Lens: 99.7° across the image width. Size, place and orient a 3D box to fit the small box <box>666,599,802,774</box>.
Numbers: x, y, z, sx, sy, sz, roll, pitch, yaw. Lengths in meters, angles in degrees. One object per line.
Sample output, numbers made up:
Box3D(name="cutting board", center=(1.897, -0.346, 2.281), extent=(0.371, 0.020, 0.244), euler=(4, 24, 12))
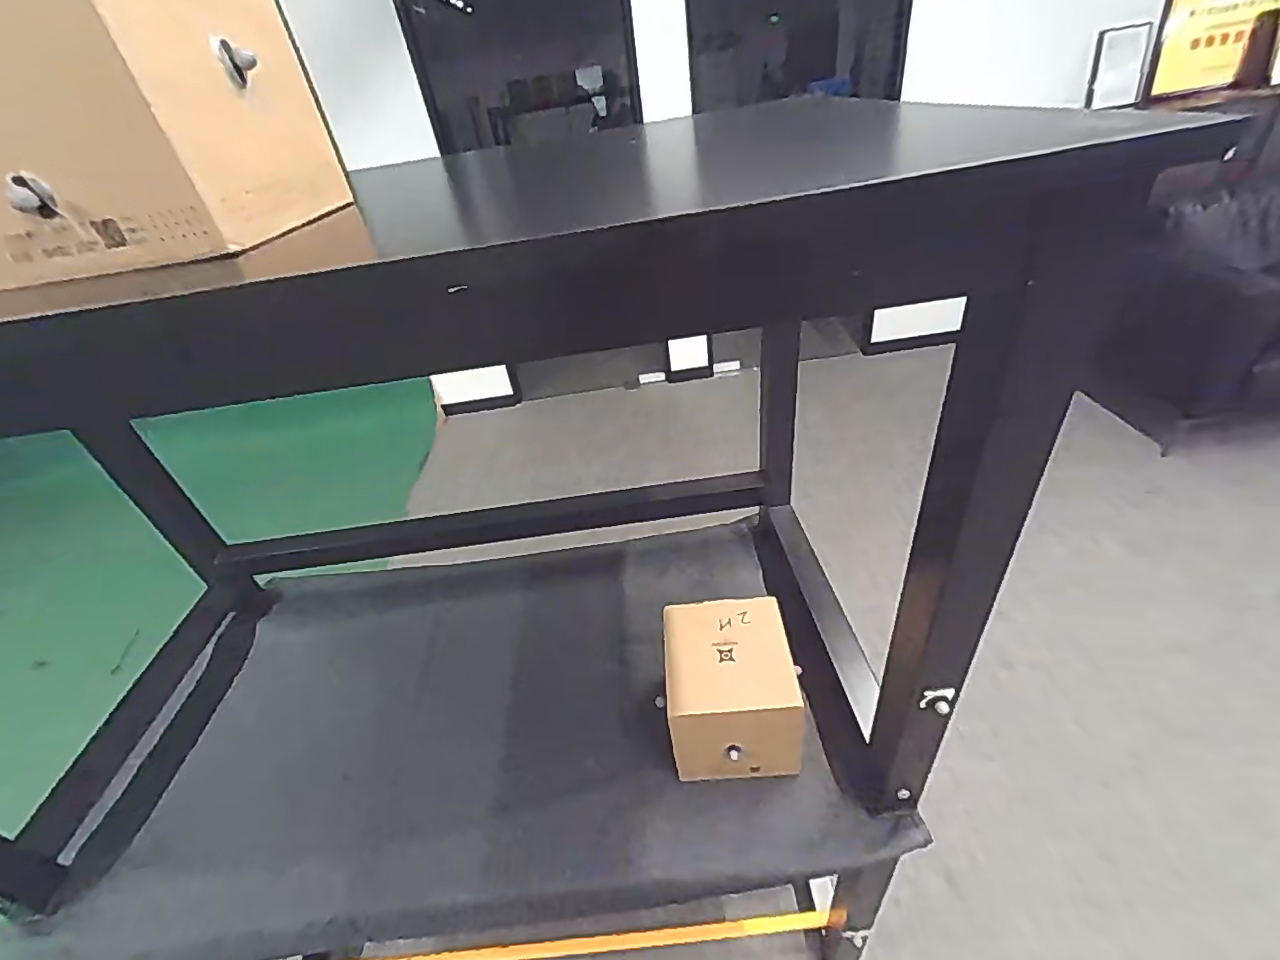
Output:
Box3D(name="small box", center=(0.128, 0.295, 0.765), extent=(0.168, 0.176, 0.179), euler=(-5, 36, 5))
